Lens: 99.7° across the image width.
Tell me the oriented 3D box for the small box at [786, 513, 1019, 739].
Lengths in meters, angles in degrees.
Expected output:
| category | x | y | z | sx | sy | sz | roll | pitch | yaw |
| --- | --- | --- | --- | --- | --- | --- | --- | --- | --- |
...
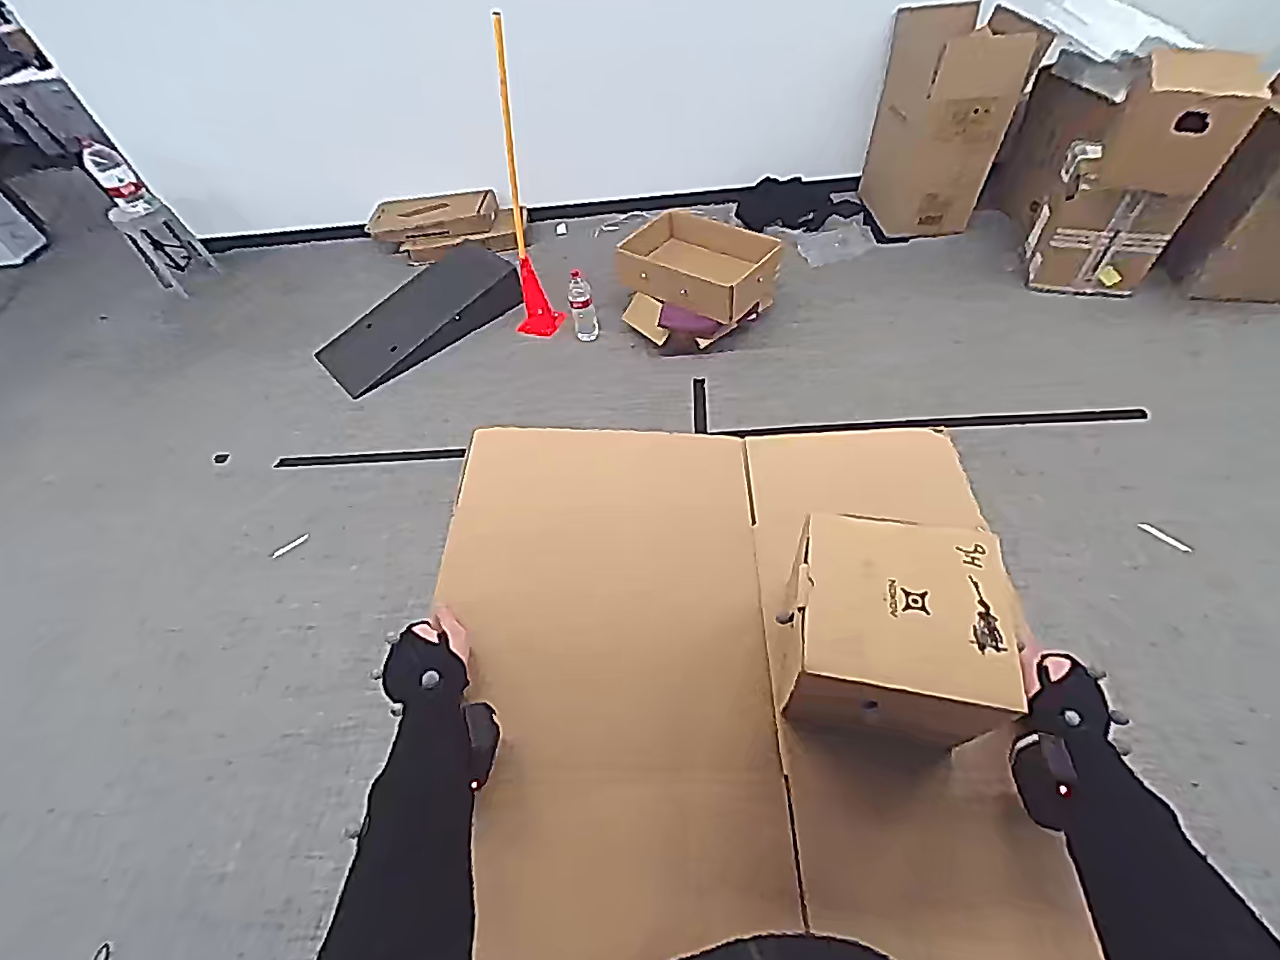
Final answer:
| category | x | y | z | sx | sy | sz | roll | pitch | yaw |
| --- | --- | --- | --- | --- | --- | --- | --- | --- | --- |
| small box | 0.249 | 0.154 | 0.560 | 0.179 | 0.176 | 0.168 | 6 | 56 | 13 |
